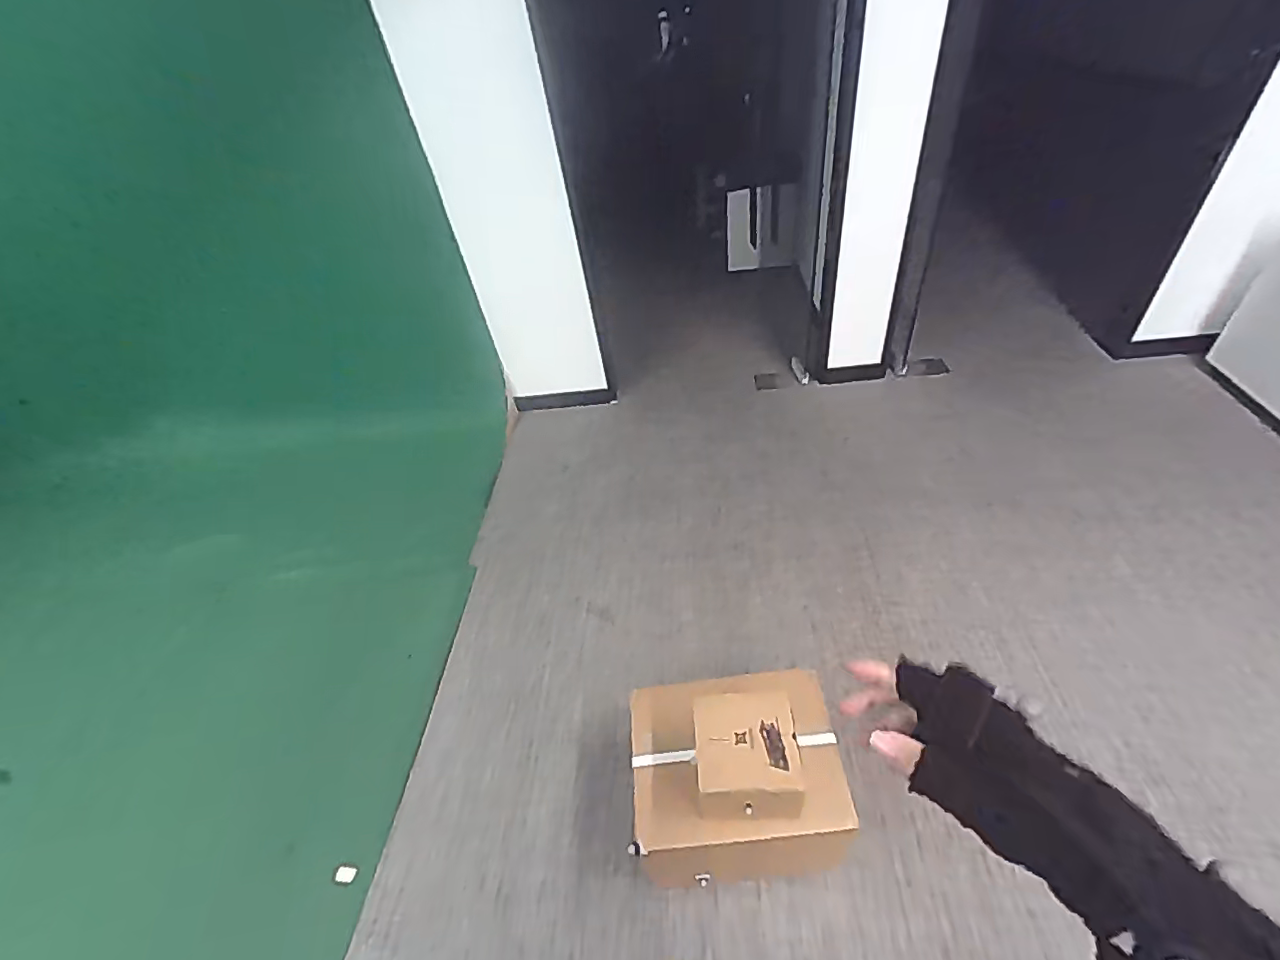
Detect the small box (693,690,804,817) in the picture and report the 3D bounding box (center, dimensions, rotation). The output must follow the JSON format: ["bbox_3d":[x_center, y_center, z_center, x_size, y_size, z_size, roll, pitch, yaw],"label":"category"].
[{"bbox_3d":[0.193,0.506,0.997,0.179,0.176,0.168,-6,44,7],"label":"small box"}]
